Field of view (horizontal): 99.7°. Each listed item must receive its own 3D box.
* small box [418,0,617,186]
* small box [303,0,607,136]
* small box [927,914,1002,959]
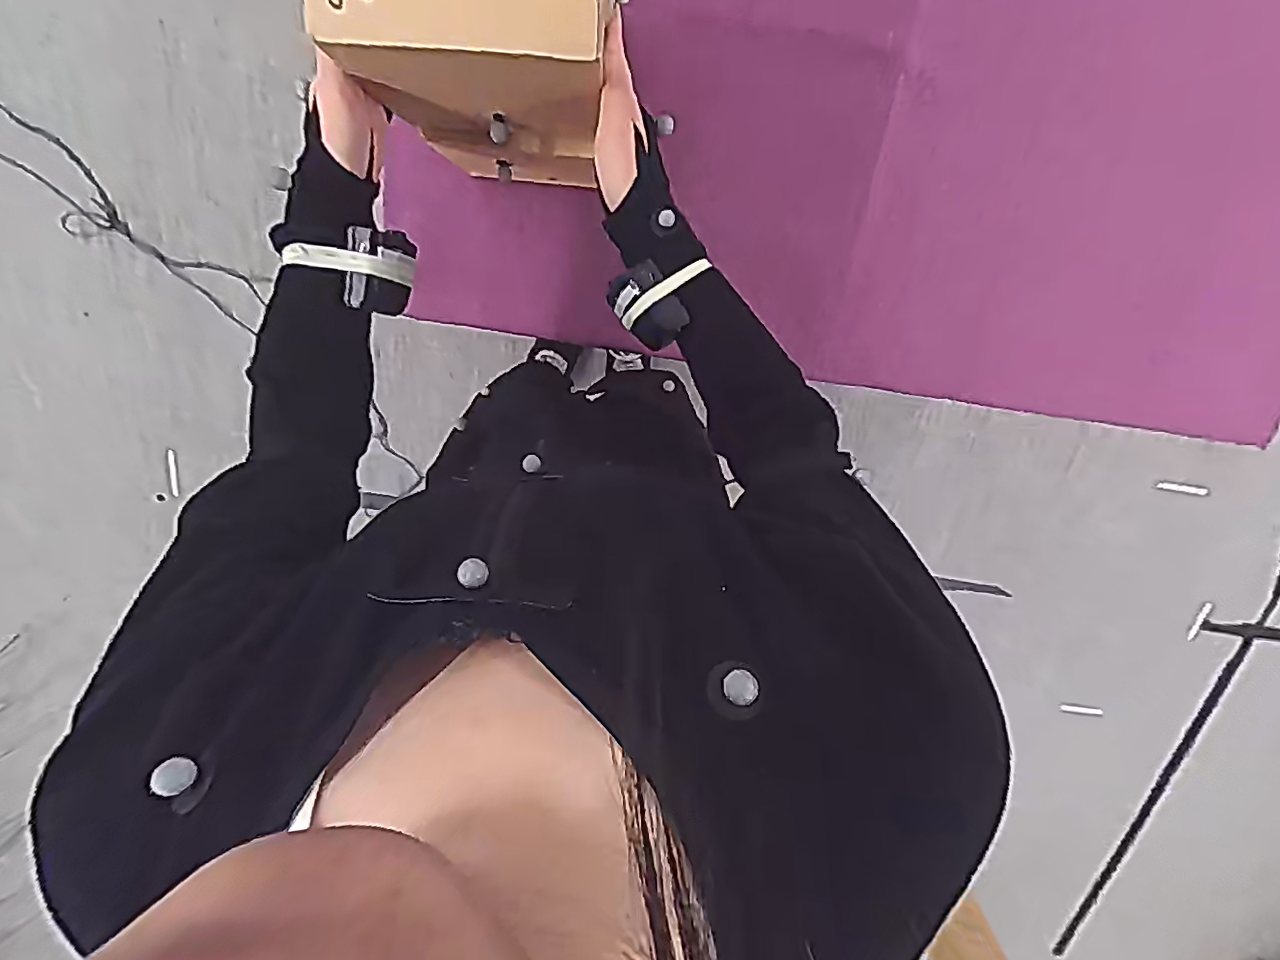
[{"bbox_3d":[-0.112,-0.408,0.539,0.168,0.176,0.179,4,108,-2],"label":"small box"},{"bbox_3d":[-0.111,-0.360,0.376,0.179,0.176,0.168,2,107,-5],"label":"small box"},{"bbox_3d":[1.141,1.673,1.890,0.168,0.176,0.179,11,108,-6],"label":"small box"}]
